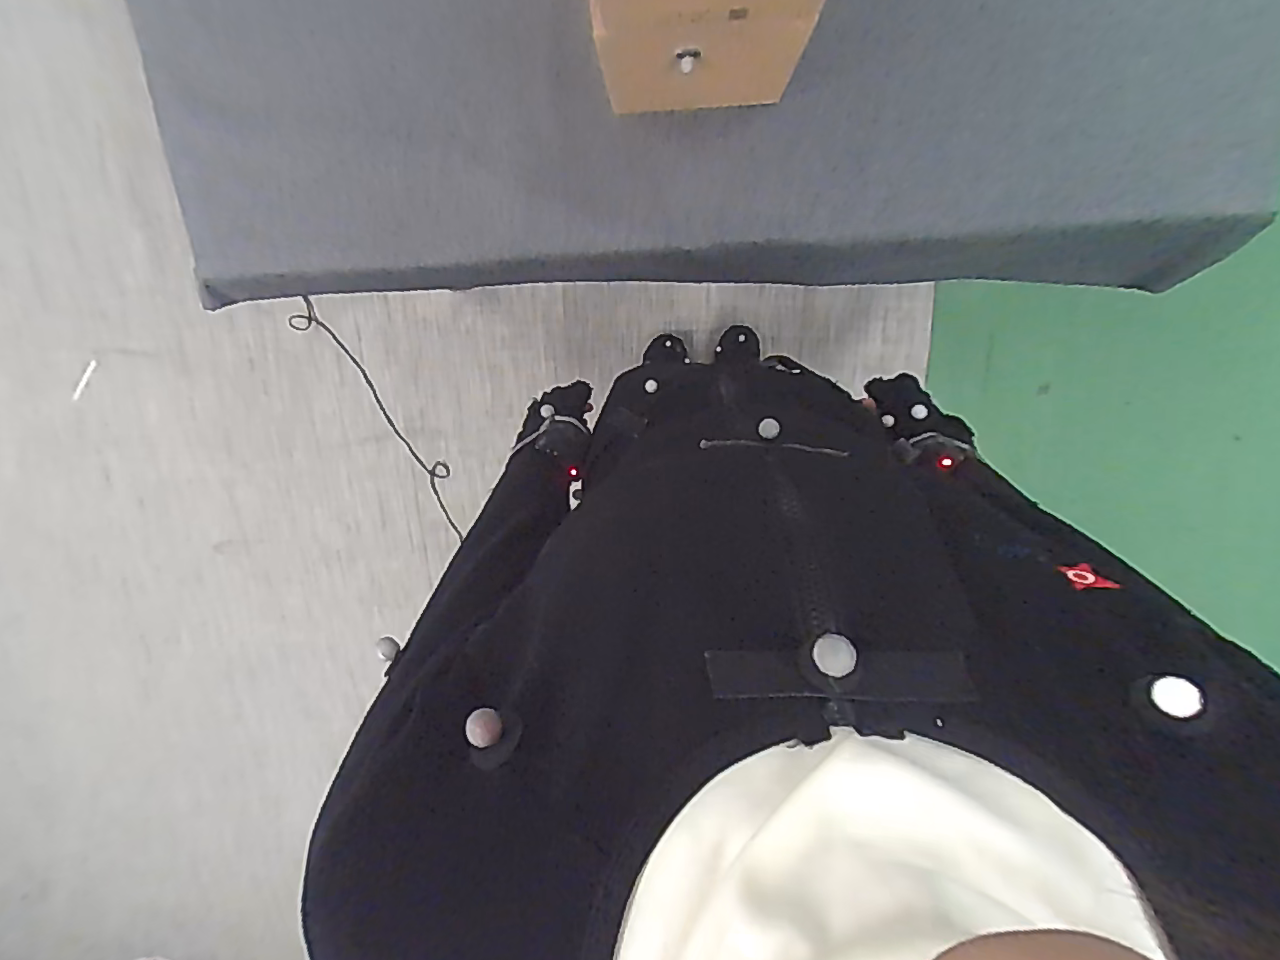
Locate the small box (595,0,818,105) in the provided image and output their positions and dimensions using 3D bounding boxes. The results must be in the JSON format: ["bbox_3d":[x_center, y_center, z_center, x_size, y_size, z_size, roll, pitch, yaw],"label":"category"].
[{"bbox_3d":[0.055,-0.460,0.481,0.179,0.176,0.168,-1,106,4],"label":"small box"}]
